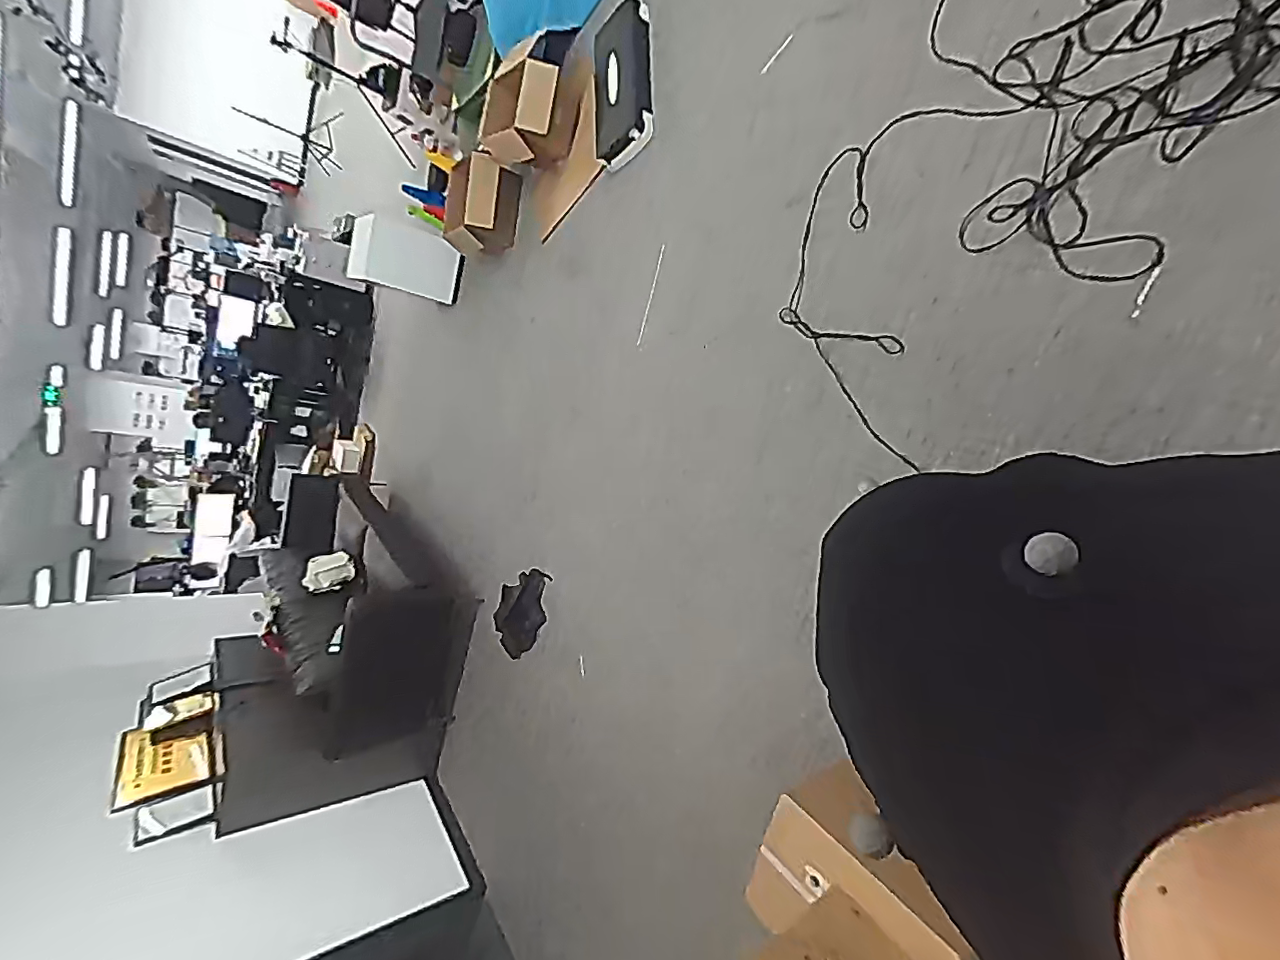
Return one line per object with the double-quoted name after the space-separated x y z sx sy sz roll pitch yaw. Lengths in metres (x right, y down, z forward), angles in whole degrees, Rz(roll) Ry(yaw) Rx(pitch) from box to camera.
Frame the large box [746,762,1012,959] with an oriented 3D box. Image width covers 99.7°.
0.525 0.933 1.222 0.408 0.320 0.320 29 106 48 "large box"
